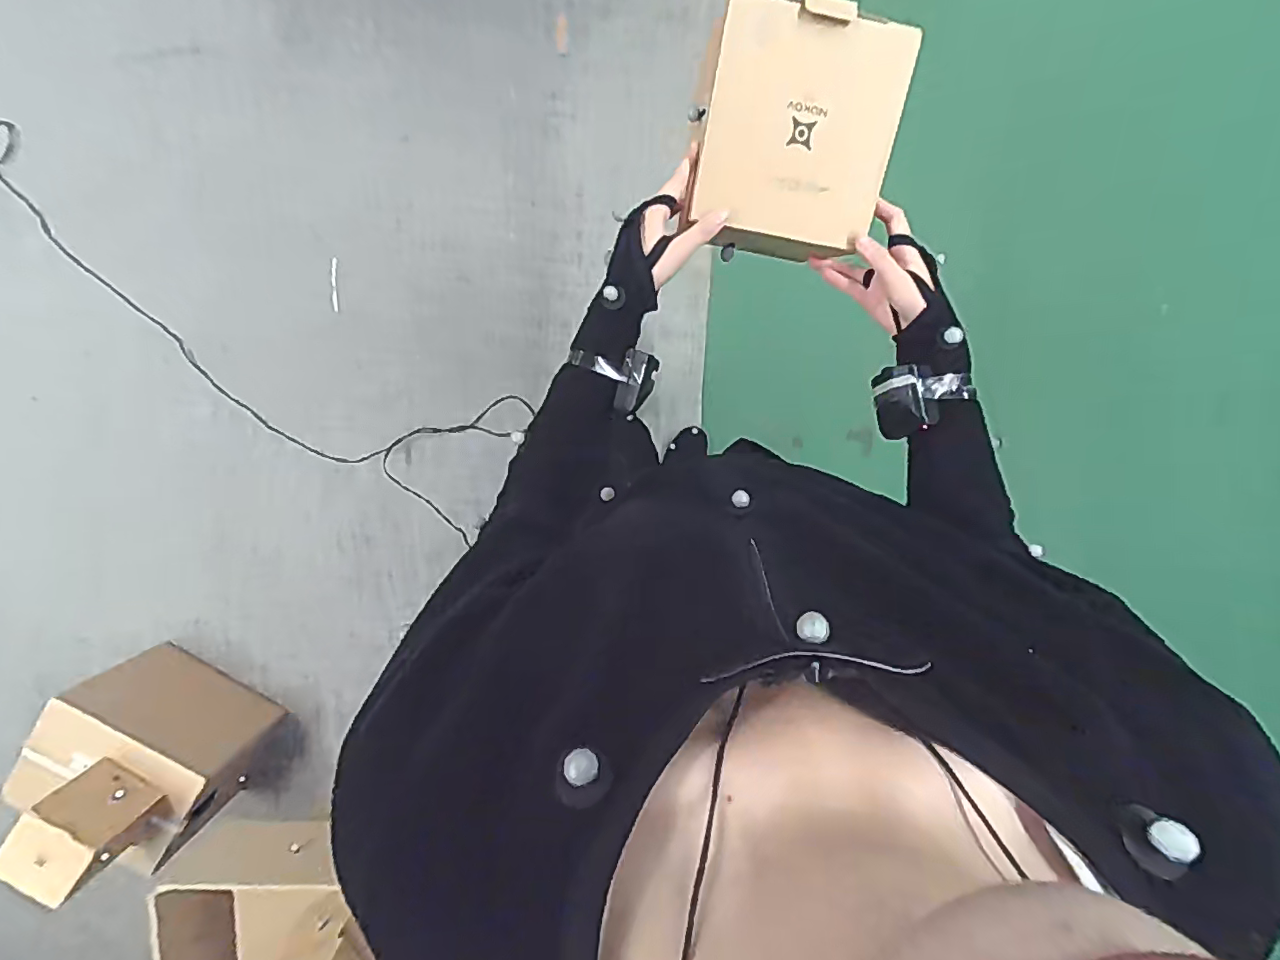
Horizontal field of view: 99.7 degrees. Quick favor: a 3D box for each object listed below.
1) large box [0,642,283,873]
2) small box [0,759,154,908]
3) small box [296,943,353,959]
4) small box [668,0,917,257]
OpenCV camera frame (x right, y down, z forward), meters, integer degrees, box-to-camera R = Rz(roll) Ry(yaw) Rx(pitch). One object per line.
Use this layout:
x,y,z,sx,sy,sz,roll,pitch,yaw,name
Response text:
-1.275,0.706,1.427,0.408,0.320,0.320,33,95,-3,large box
-1.241,0.767,1.189,0.168,0.176,0.179,37,96,-5,small box
-0.608,0.985,0.952,0.179,0.176,0.168,-26,97,2,small box
0.127,-0.330,0.531,0.168,0.176,0.179,9,109,-6,small box
